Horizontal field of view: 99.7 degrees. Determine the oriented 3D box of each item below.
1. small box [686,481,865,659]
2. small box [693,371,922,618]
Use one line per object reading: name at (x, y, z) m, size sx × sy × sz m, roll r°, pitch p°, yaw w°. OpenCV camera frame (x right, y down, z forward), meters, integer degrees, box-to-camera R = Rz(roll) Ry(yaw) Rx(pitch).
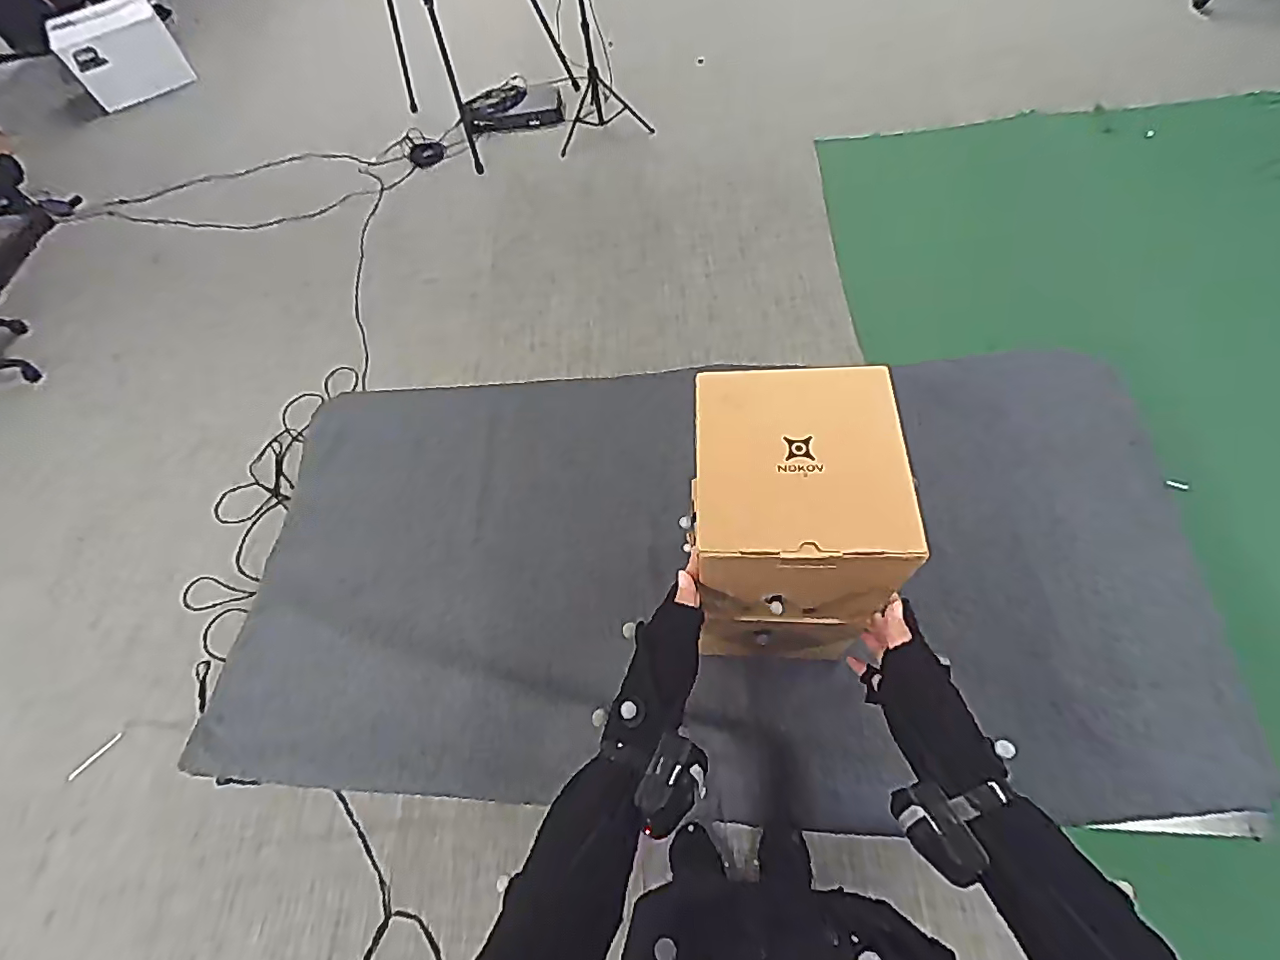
small box at (0.148, 0.110, 0.640) m, size 0.179 × 0.176 × 0.168 m, roll 0°, pitch 61°, yaw 7°
small box at (0.134, 0.020, 0.505) m, size 0.168 × 0.176 × 0.179 m, roll -1°, pitch 61°, yaw 7°
